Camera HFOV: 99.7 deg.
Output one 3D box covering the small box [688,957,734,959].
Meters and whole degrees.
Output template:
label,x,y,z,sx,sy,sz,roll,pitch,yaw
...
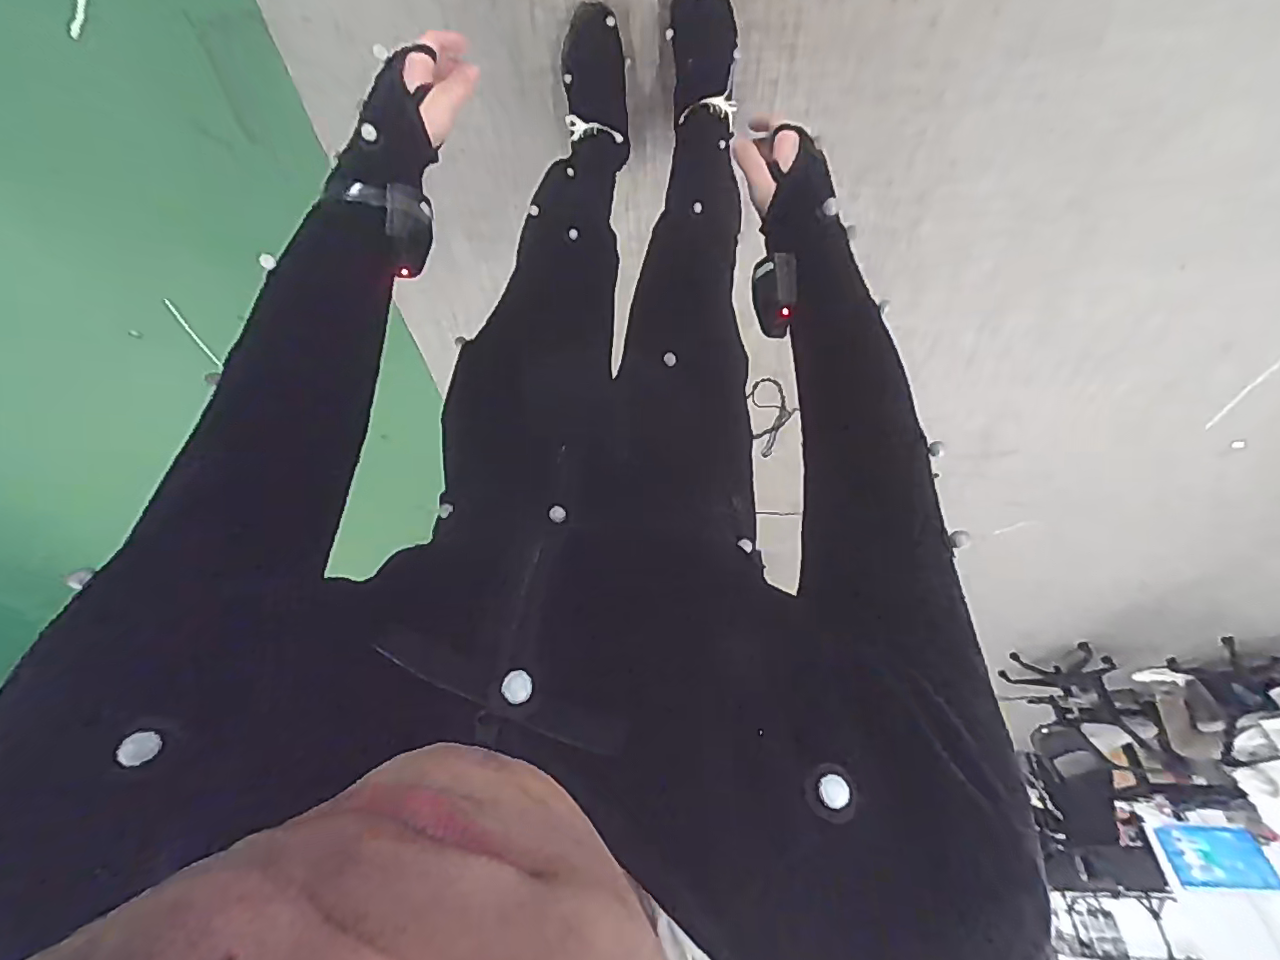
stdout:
label,x,y,z,sx,sy,sz,roll,pitch,yaw
small box,0.239,1.641,1.725,0.168,0.176,0.179,1,144,0
